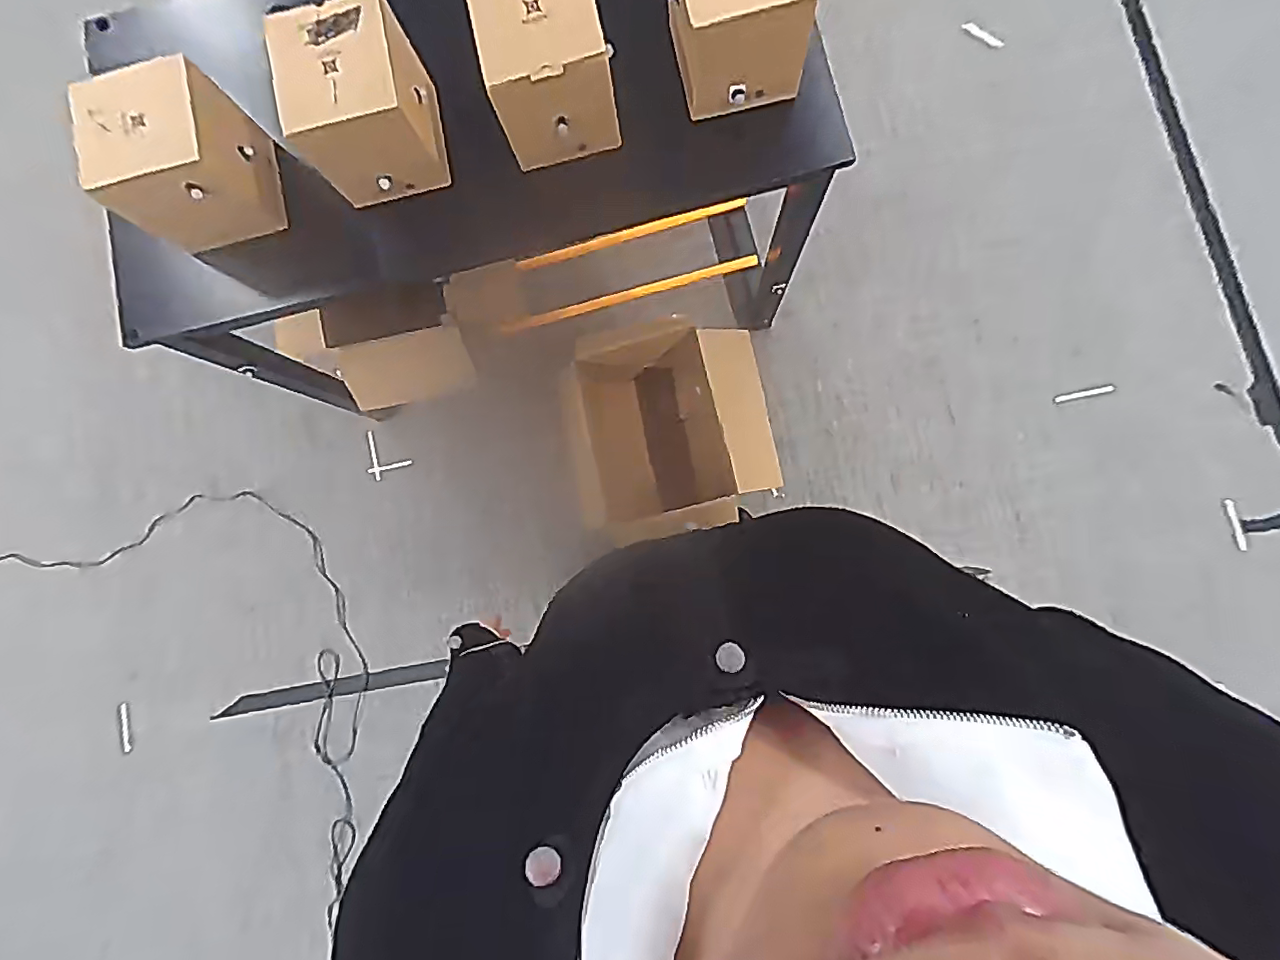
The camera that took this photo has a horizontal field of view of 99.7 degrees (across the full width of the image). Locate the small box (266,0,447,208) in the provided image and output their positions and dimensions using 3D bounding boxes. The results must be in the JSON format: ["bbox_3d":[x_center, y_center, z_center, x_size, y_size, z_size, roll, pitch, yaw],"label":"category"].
[{"bbox_3d":[-0.409,-0.546,0.803,0.168,0.176,0.179,-12,84,3],"label":"small box"}]

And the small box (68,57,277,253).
[{"bbox_3d":[-0.684,-0.474,0.815,0.179,0.176,0.168,-14,83,3],"label":"small box"}]

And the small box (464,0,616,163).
[{"bbox_3d":[-0.138,-0.598,0.788,0.168,0.176,0.179,-13,84,3],"label":"small box"}]

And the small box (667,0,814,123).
[{"bbox_3d":[0.131,-0.665,0.774,0.168,0.176,0.179,-12,84,5],"label":"small box"}]
